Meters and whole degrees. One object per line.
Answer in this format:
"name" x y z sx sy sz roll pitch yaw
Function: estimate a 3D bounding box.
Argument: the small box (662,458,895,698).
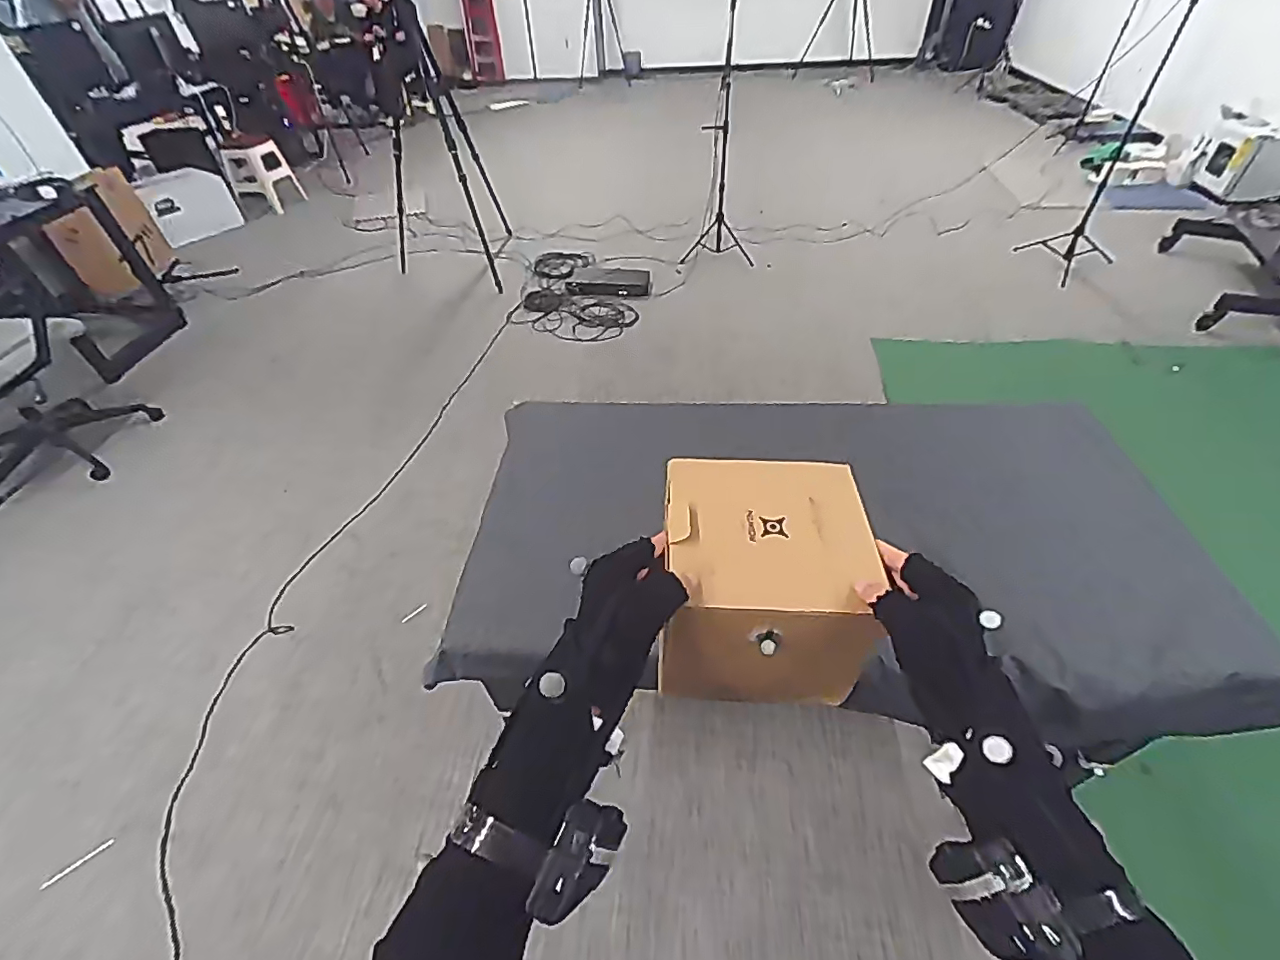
"small box" 0.110 0.096 0.521 0.179 0.176 0.168 2 46 1
